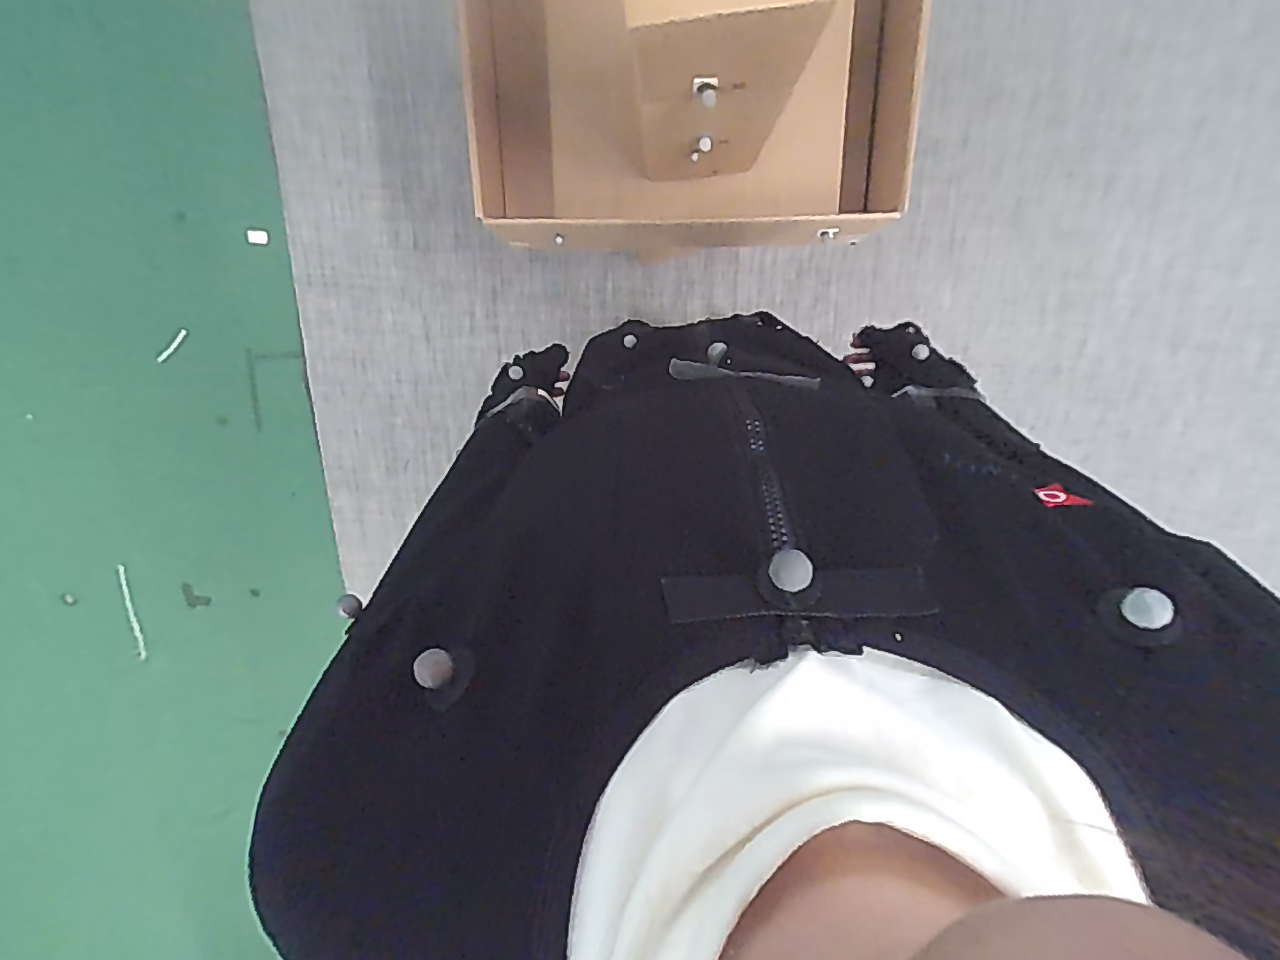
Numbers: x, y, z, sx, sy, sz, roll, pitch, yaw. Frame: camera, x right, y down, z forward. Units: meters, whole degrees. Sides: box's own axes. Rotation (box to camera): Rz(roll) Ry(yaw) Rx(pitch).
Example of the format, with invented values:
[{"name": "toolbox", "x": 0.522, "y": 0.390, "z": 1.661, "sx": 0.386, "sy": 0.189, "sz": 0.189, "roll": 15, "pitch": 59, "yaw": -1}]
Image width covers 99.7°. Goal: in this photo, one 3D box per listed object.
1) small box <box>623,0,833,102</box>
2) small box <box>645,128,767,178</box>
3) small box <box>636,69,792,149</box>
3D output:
[{"name": "small box", "x": 0.067, "y": -0.466, "z": 0.468, "sx": 0.168, "sy": 0.176, "sz": 0.179, "roll": -4, "pitch": 107, "yaw": 6}, {"name": "small box", "x": 0.087, "y": -0.561, "z": 0.779, "sx": 0.168, "sy": 0.176, "sz": 0.179, "roll": -4, "pitch": 105, "yaw": 6}, {"name": "small box", "x": 0.076, "y": -0.511, "z": 0.623, "sx": 0.168, "sy": 0.176, "sz": 0.179, "roll": -4, "pitch": 106, "yaw": 4}]
